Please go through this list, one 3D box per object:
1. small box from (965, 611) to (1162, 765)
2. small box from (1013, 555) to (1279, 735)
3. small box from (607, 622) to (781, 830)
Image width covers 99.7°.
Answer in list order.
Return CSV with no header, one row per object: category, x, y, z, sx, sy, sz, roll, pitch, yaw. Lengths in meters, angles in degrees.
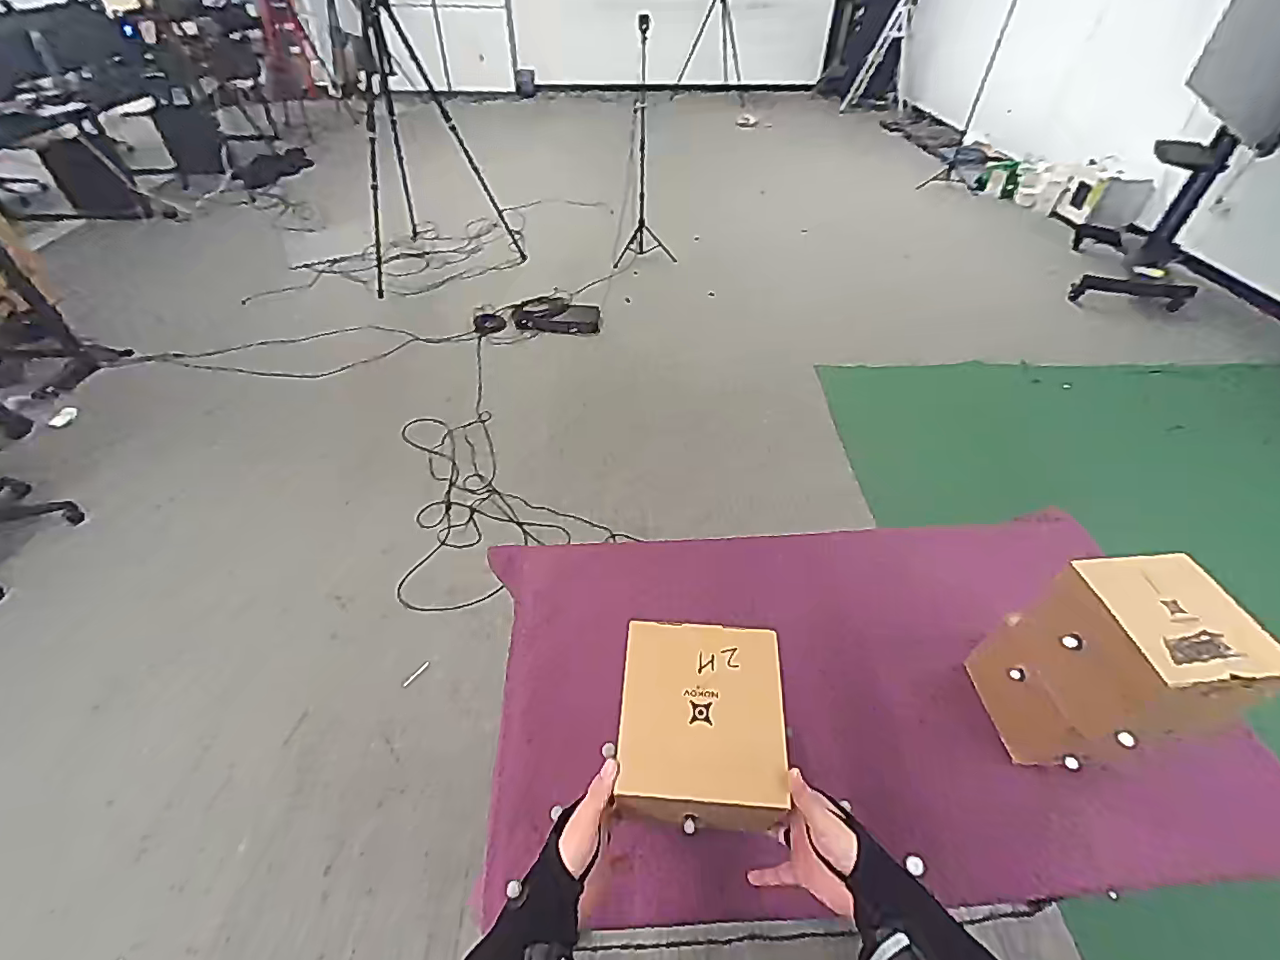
small box,0.651,0.324,0.846,0.168,0.176,0.179,-1,45,0
small box,0.650,0.222,0.717,0.168,0.176,0.179,-3,44,-2
small box,0.060,0.282,0.613,0.168,0.176,0.179,4,51,4
